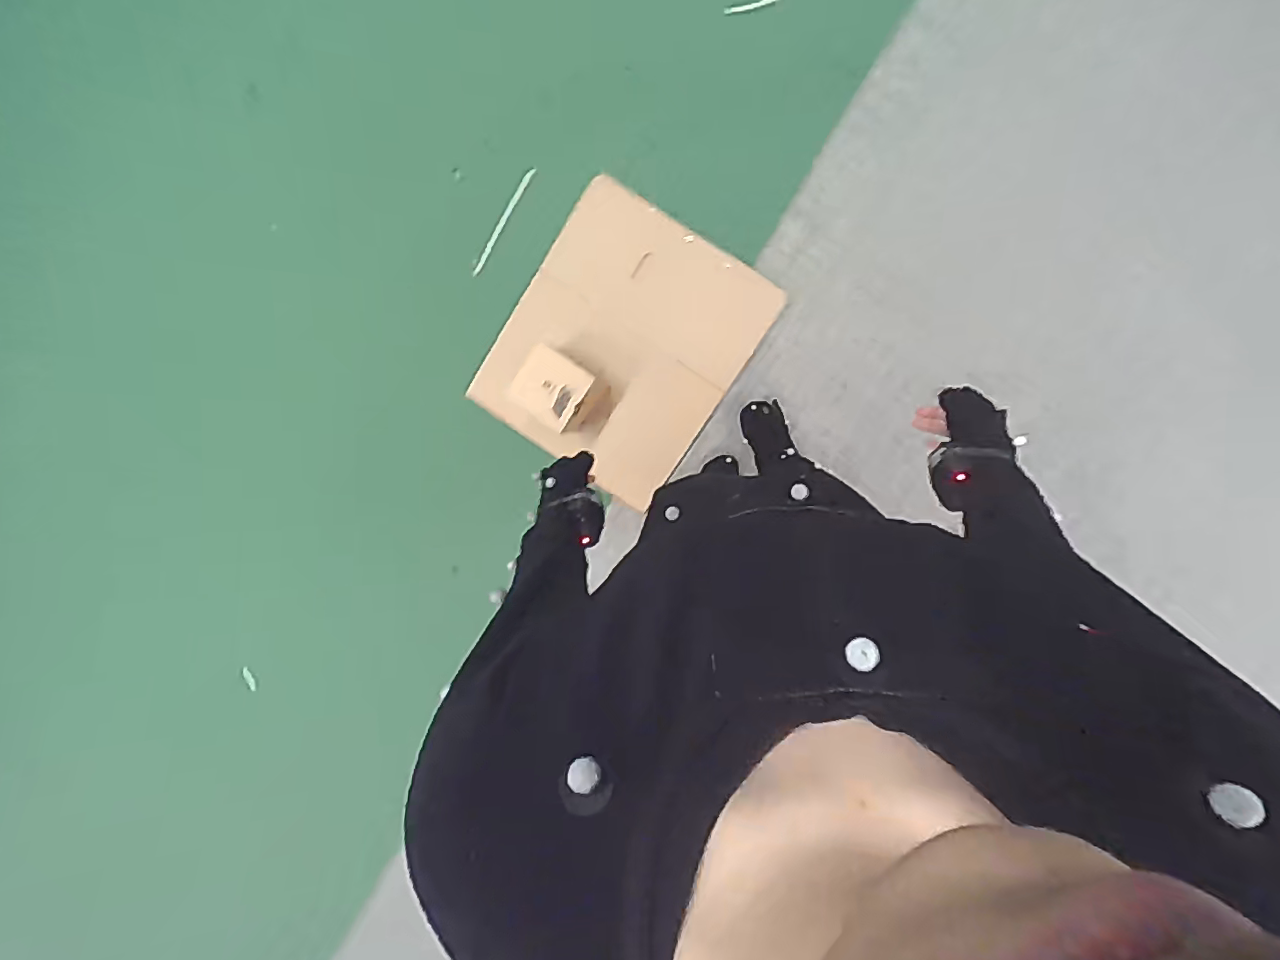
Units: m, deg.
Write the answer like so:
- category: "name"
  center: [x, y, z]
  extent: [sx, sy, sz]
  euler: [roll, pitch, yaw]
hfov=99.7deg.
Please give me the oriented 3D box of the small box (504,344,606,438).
- category: "small box"
  center: [-0.210, -0.227, 1.397]
  extent: [0.179, 0.176, 0.168]
  euler: [35, 99, 4]
